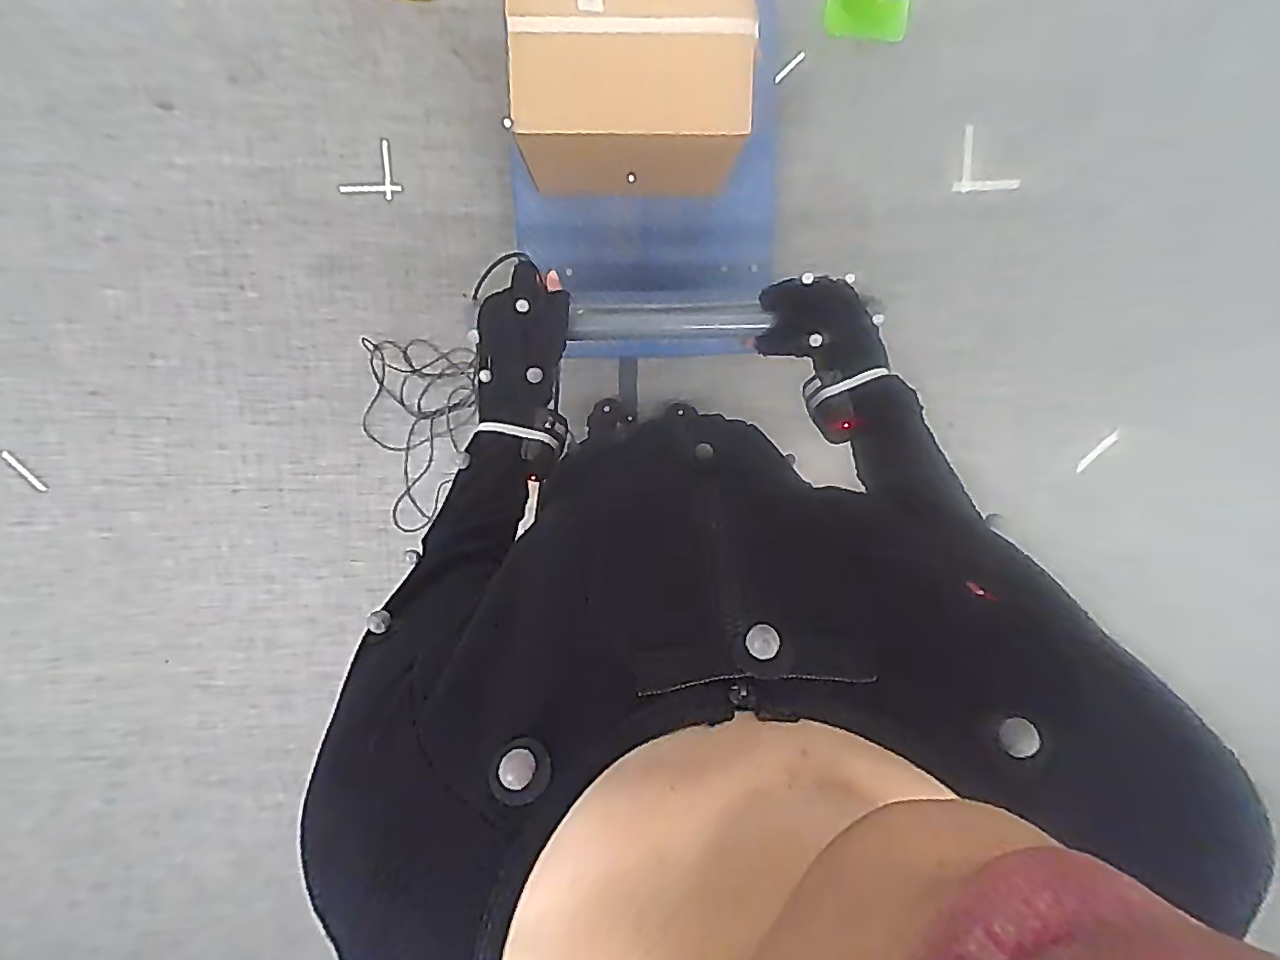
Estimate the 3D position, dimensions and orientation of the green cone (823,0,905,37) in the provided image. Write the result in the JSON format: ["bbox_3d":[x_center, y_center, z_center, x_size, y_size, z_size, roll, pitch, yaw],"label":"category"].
[{"bbox_3d":[0.554,-1.156,1.130,0.202,0.368,0.200,3,99,-4],"label":"green cone"}]

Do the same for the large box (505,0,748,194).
[{"bbox_3d":[-0.021,-0.759,1.032,0.408,0.320,0.320,-1,100,-1],"label":"large box"}]
